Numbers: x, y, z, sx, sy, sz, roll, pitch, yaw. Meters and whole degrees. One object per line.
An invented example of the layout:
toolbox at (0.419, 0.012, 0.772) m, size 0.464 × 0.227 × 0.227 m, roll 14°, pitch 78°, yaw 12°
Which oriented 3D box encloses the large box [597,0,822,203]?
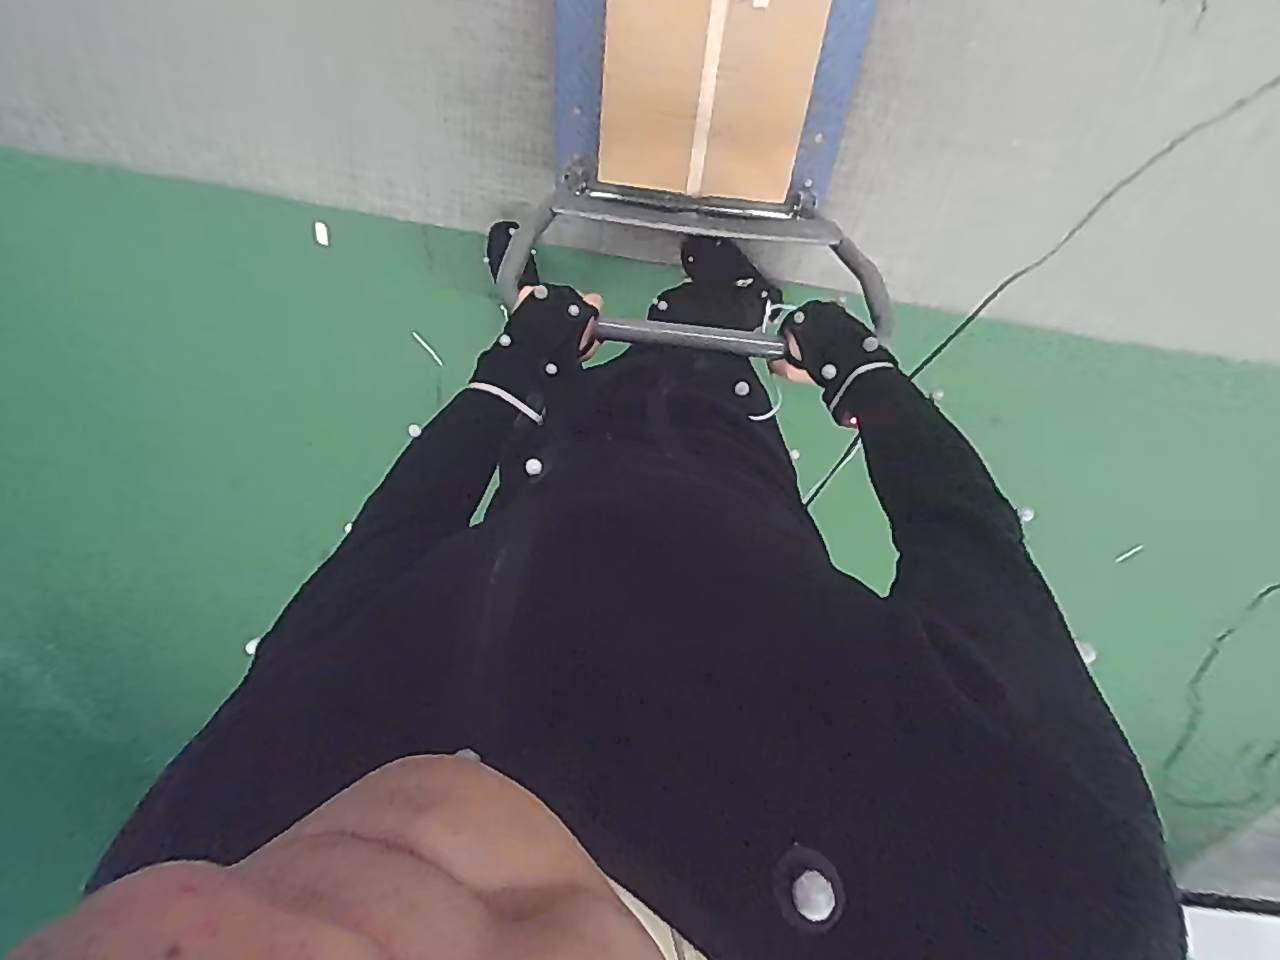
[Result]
large box at (0.108, -0.725, 0.923) m, size 0.320 × 0.320 × 0.408 m, roll 7°, pitch 124°, yaw -1°
